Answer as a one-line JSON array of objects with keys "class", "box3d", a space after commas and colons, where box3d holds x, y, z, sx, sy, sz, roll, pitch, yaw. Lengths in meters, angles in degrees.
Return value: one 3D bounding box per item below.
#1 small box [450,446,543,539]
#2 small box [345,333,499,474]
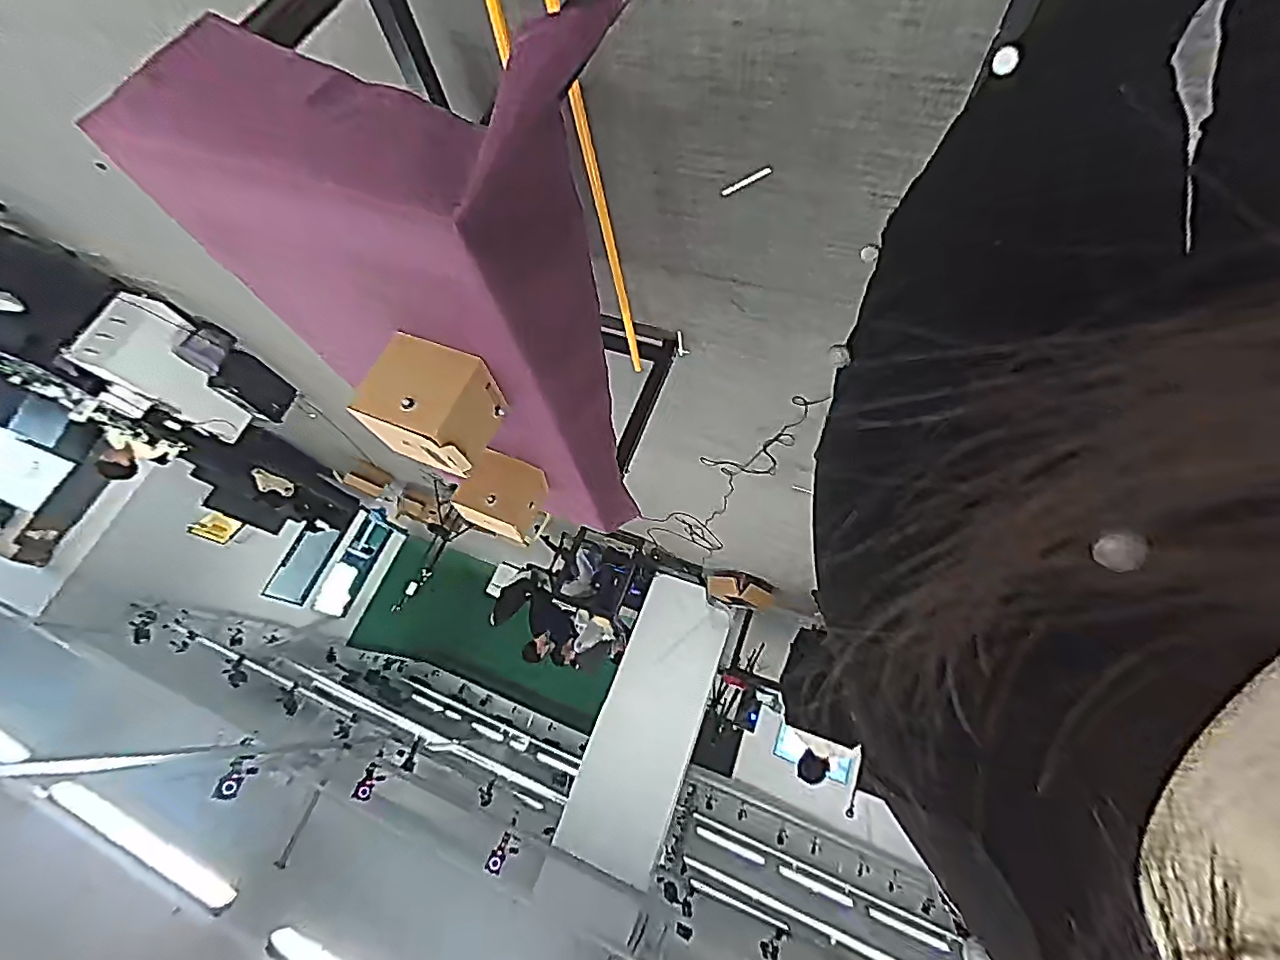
[{"class": "small box", "box3d": [-0.362, 0.032, 1.407, 0.179, 0.176, 0.168, 22, 160, 3]}, {"class": "small box", "box3d": [-0.375, -0.137, 0.975, 0.179, 0.176, 0.168, 20, 160, 11]}]
